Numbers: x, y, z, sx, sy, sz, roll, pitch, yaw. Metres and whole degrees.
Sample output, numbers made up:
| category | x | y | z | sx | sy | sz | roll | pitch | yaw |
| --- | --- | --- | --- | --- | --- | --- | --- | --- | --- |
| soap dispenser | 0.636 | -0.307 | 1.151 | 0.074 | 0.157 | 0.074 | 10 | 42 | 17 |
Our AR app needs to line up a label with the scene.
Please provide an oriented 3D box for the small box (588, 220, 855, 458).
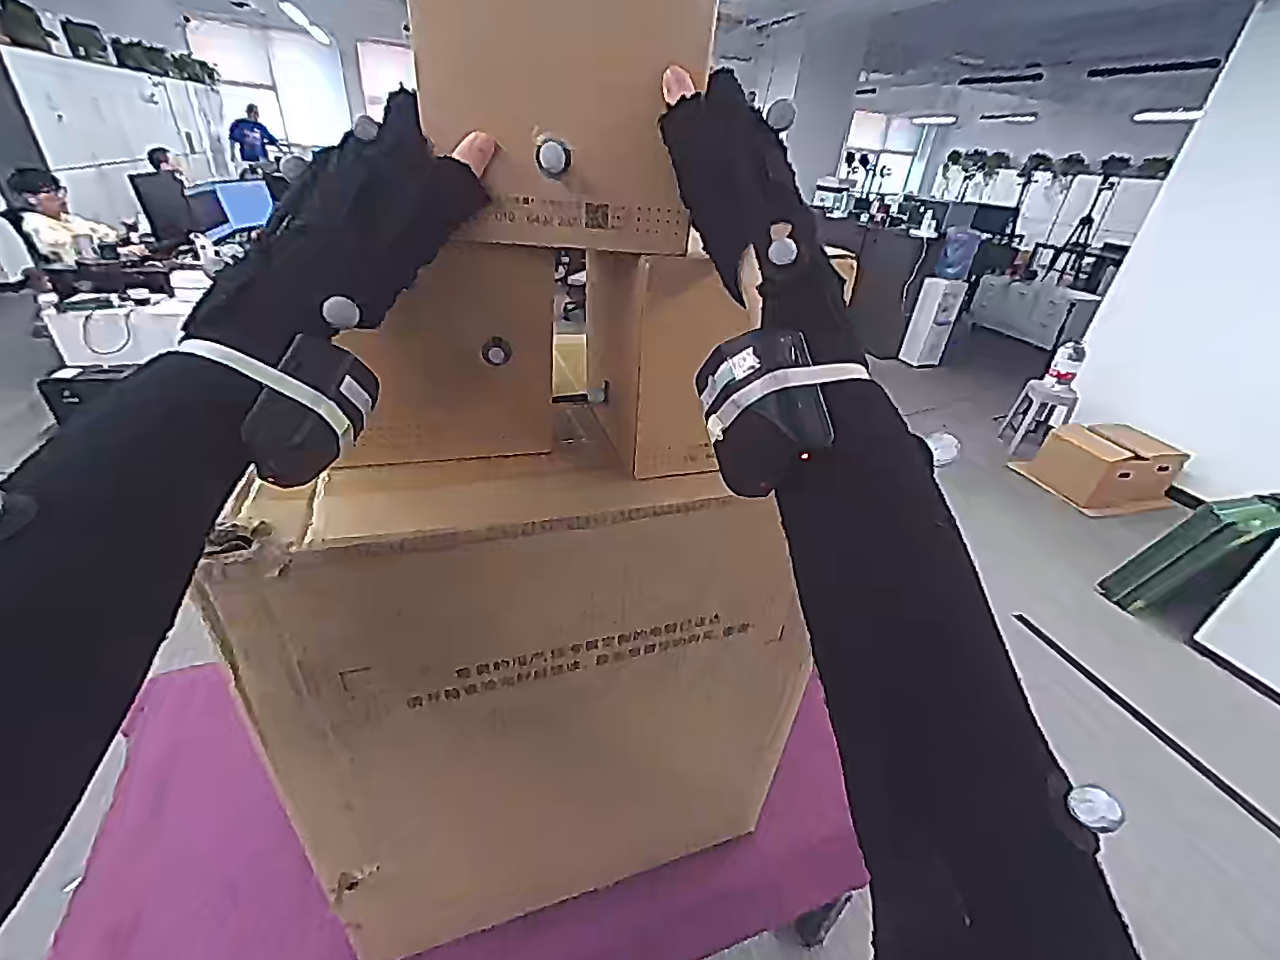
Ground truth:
| category | x | y | z | sx | sy | sz | roll | pitch | yaw |
| --- | --- | --- | --- | --- | --- | --- | --- | --- | --- |
| small box | 0.054 | -0.127 | 0.478 | 0.168 | 0.176 | 0.179 | -7 | 32 | -16 |

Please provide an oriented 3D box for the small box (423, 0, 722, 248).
| category | x | y | z | sx | sy | sz | roll | pitch | yaw |
| --- | --- | --- | --- | --- | --- | --- | --- | --- | --- |
| small box | -0.048 | -0.269 | 0.379 | 0.168 | 0.176 | 0.179 | 1 | 31 | -7 |
